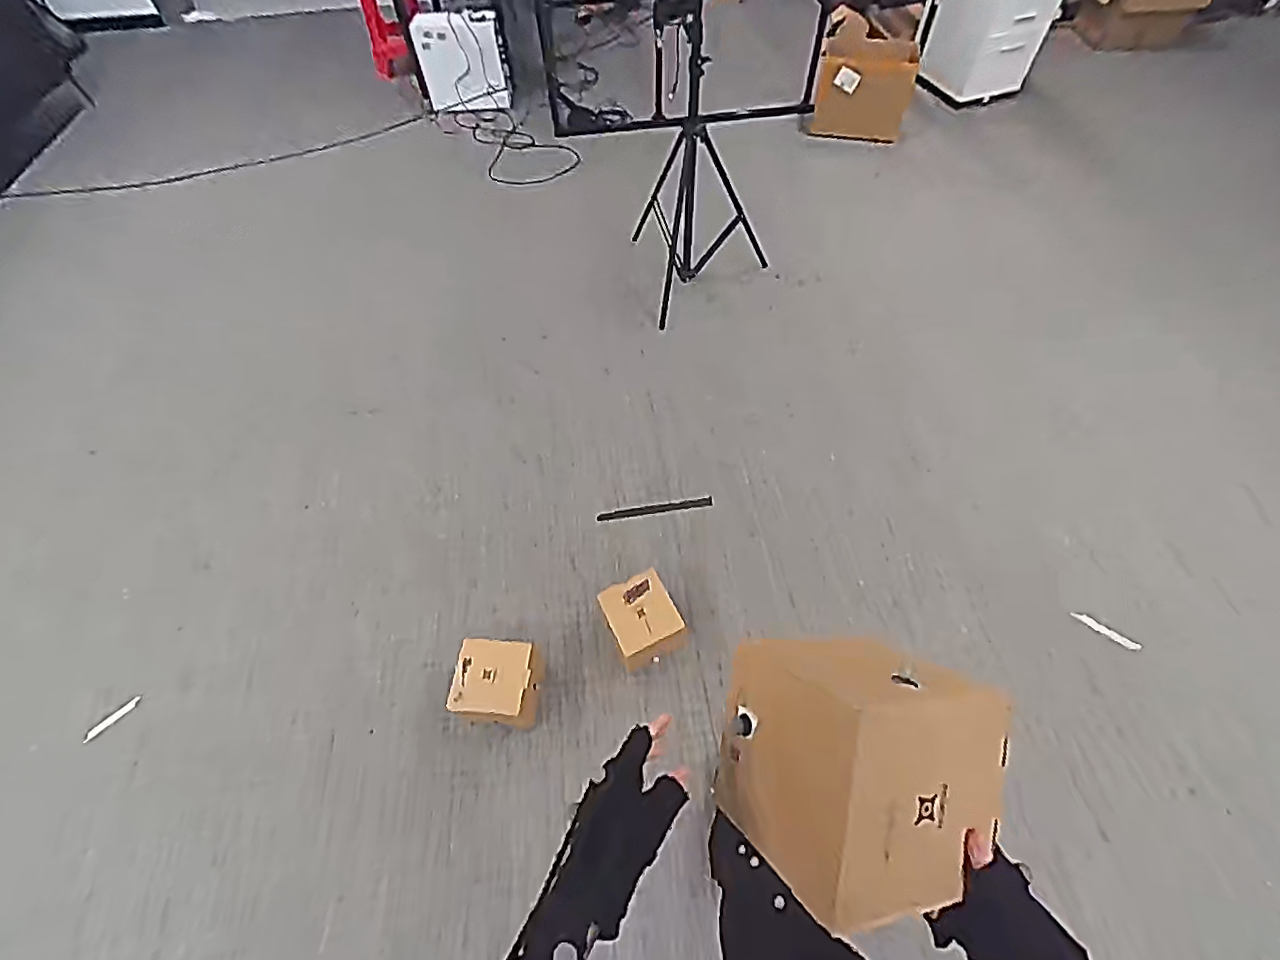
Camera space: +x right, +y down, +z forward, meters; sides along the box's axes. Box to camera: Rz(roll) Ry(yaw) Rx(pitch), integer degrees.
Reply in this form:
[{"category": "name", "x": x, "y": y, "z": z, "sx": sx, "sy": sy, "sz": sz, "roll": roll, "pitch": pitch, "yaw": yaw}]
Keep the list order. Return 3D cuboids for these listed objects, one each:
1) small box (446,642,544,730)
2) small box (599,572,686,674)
[{"category": "small box", "x": -0.344, "y": 0.510, "z": 1.329, "sx": 0.179, "sy": 0.176, "sz": 0.168, "roll": 4, "pitch": 56, "yaw": 5}, {"category": "small box", "x": 0.005, "y": 0.374, "z": 1.400, "sx": 0.168, "sy": 0.176, "sz": 0.179, "roll": -24, "pitch": 59, "yaw": -12}]
